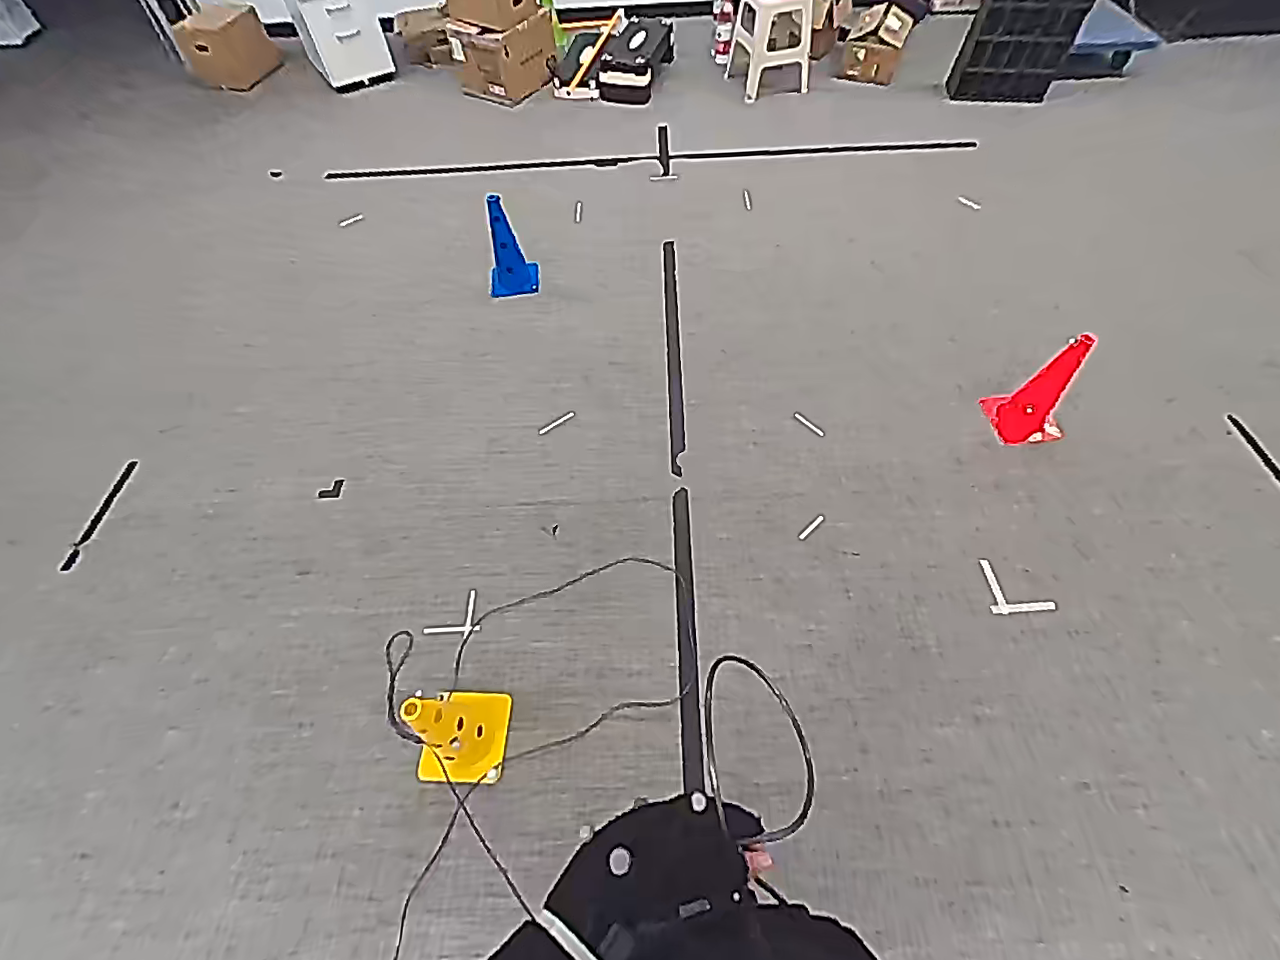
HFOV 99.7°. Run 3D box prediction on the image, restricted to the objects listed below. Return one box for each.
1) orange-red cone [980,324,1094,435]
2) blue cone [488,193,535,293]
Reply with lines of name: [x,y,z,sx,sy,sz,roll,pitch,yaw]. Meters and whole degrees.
orange-red cone: [1.247,-0.324,1.648,0.198,0.360,0.199,-6,56,-1]
blue cone: [-0.545,-0.943,2.139,0.192,0.380,0.193,-6,57,-1]
